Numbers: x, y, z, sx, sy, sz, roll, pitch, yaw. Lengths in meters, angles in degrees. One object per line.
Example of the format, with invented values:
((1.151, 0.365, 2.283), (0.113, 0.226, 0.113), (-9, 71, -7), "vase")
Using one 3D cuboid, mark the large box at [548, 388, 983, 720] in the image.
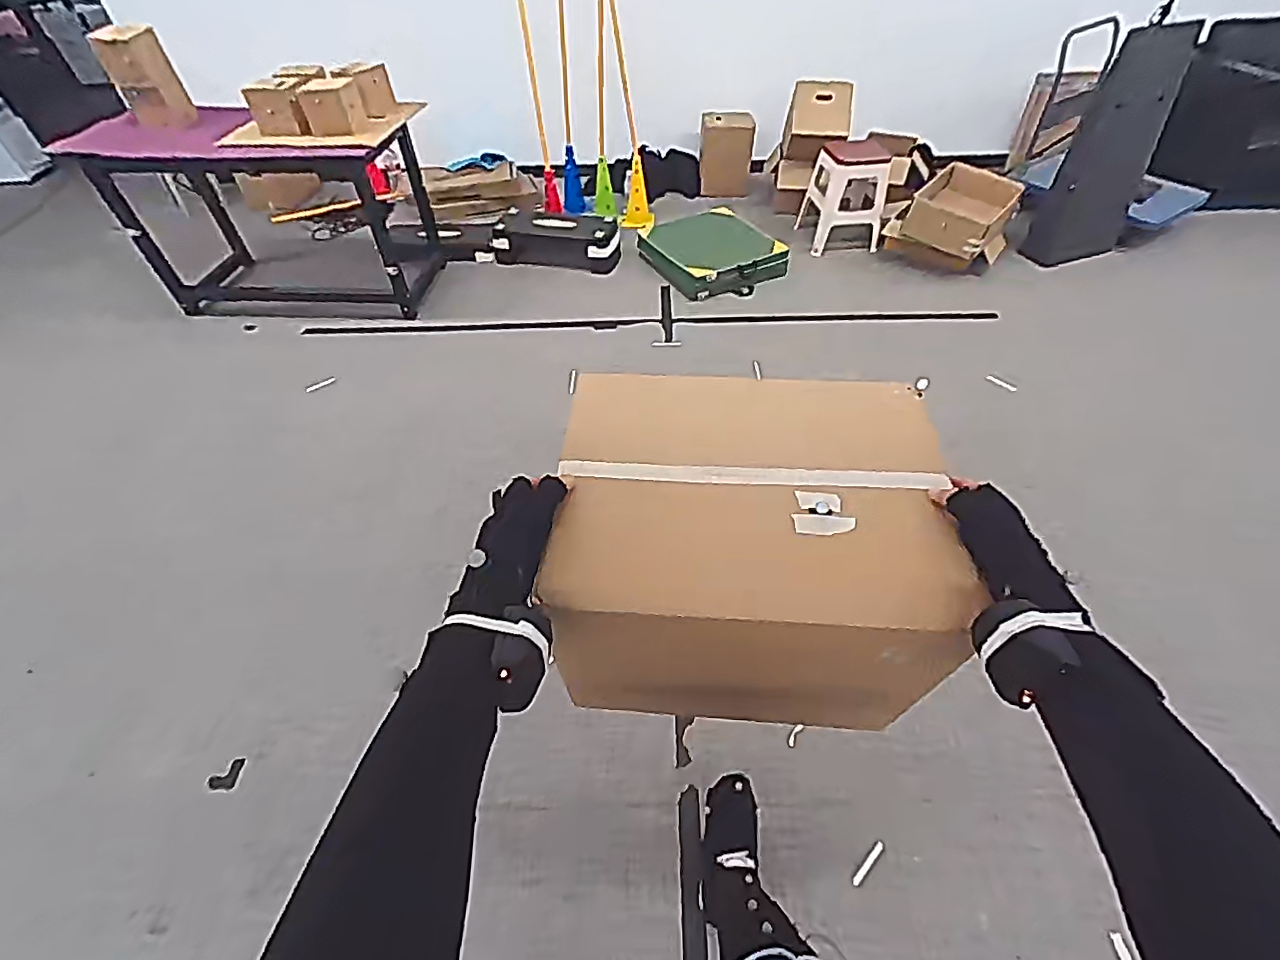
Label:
((0.122, 0.100, 0.699), (0.408, 0.320, 0.320), (3, 53, 4), "large box")
